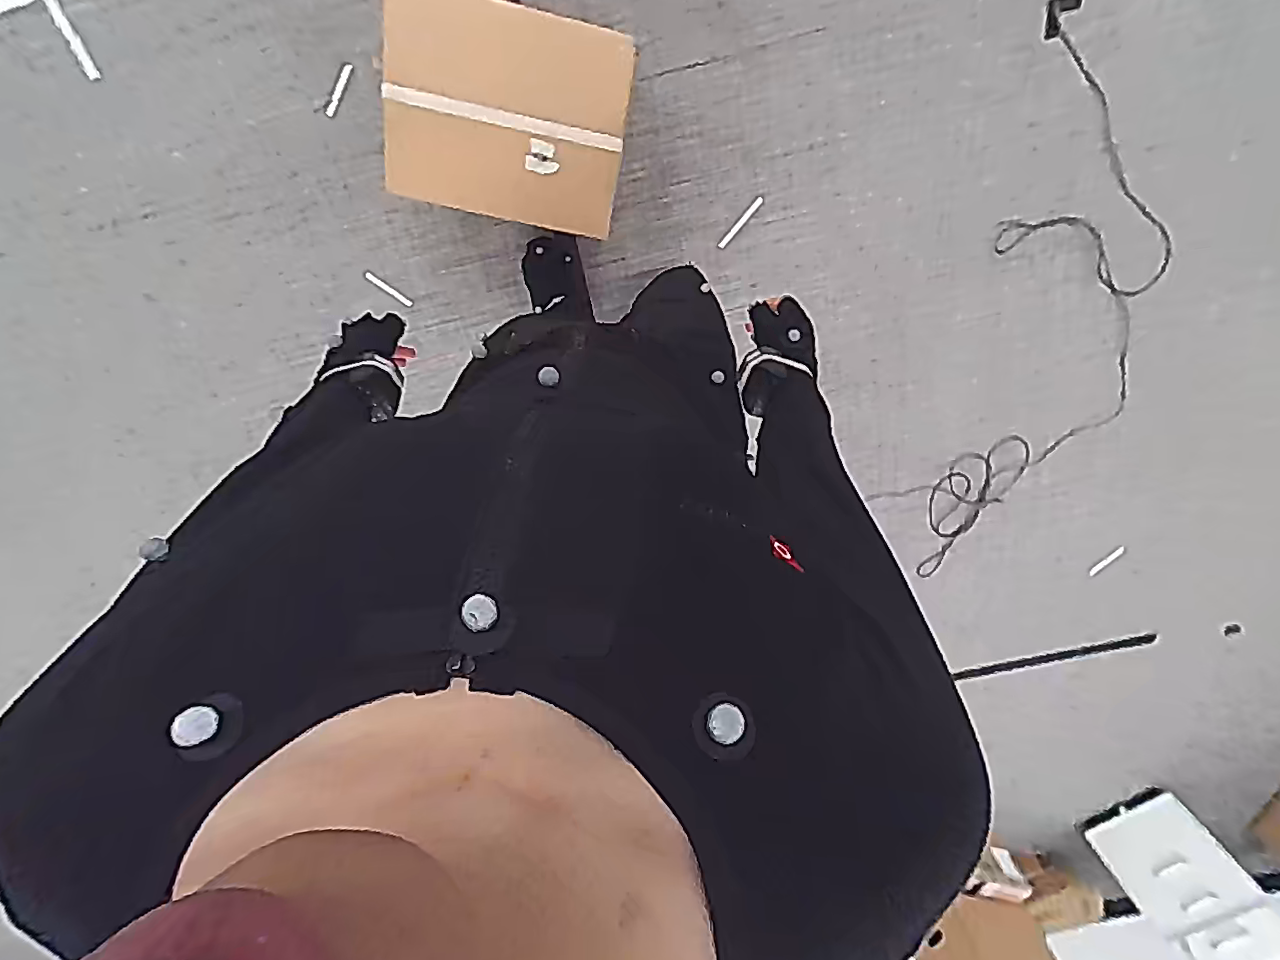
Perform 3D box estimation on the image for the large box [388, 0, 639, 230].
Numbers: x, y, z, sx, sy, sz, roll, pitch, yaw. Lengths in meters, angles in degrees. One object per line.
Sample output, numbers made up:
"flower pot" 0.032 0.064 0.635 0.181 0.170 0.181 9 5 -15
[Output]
"large box" -0.233 -0.699 1.059 0.408 0.320 0.320 8 117 -8
